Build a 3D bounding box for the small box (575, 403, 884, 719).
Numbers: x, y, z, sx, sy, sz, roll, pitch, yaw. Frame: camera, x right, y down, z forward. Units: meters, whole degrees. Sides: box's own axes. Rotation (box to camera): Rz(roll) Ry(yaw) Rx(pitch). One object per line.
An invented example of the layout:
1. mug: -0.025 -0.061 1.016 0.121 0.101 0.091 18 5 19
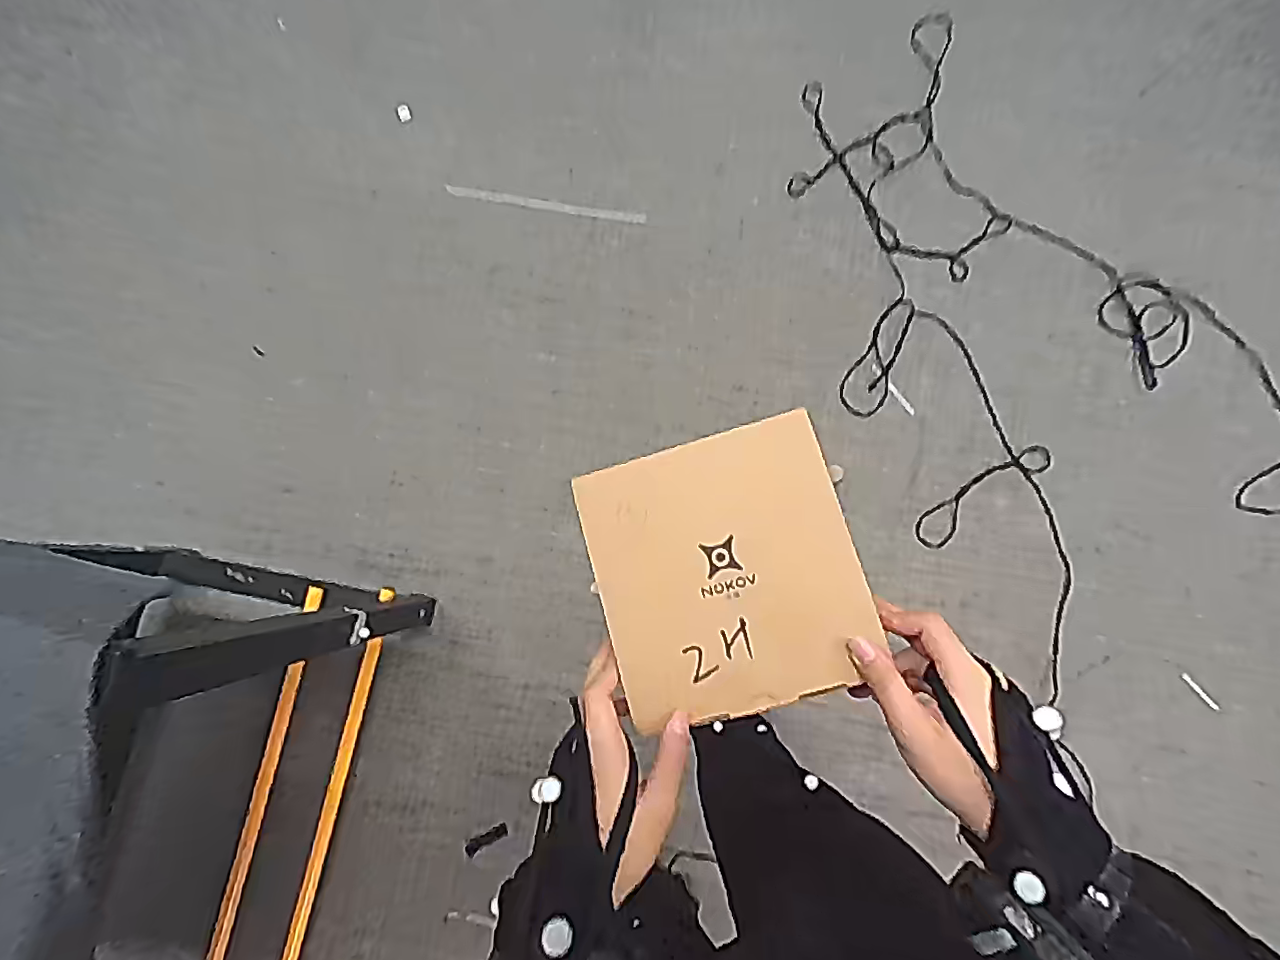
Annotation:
1. small box: 0.064 0.062 0.431 0.168 0.176 0.179 -17 80 8
